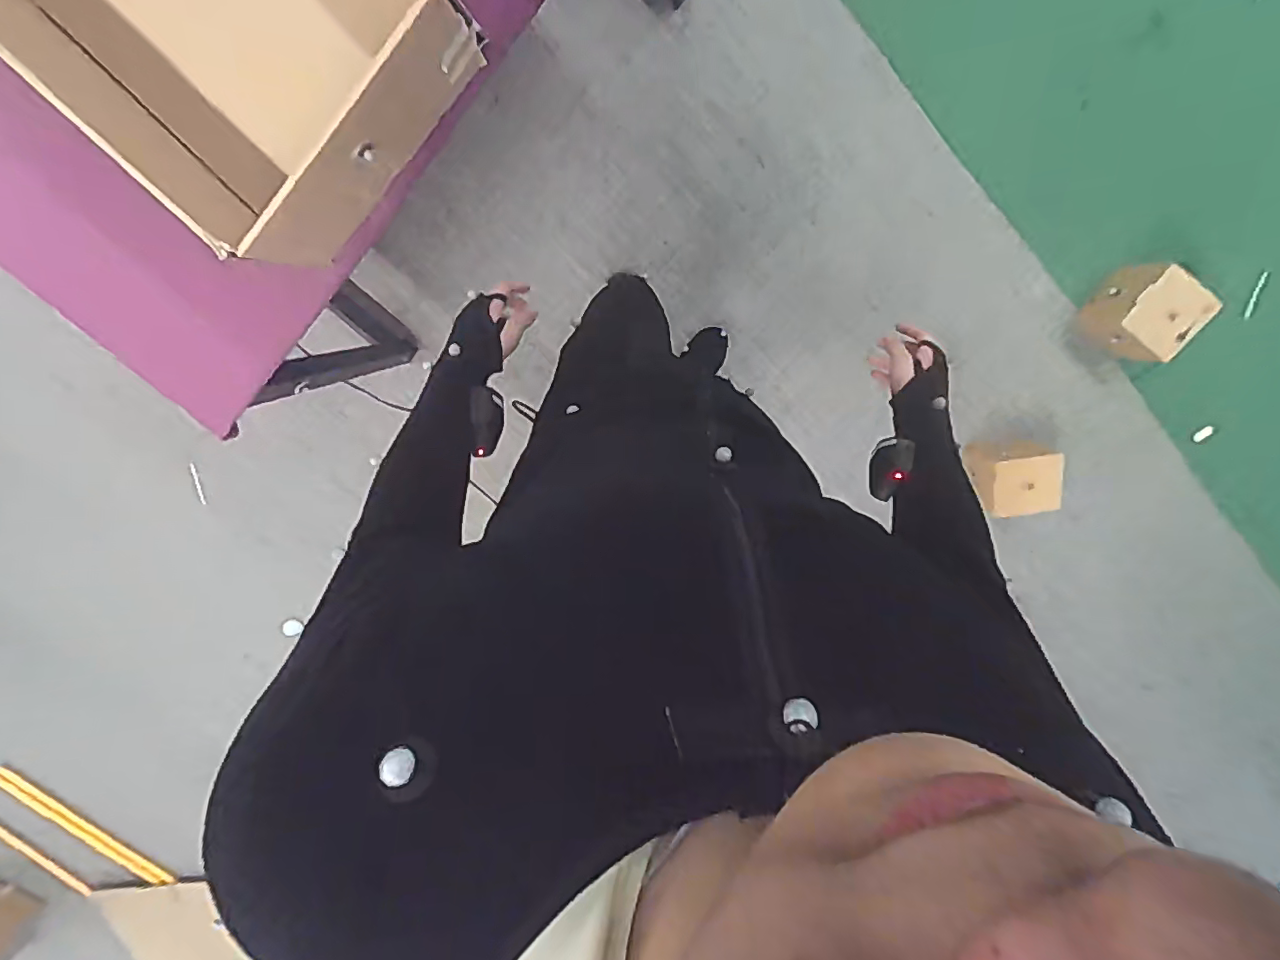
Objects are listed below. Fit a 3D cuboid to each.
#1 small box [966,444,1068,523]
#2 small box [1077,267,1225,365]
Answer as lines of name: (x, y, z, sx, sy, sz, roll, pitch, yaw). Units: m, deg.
small box: (1.050, 0.005, 1.517, 0.179, 0.176, 0.168, -8, 108, 7)
small box: (1.274, -0.411, 1.364, 0.179, 0.176, 0.168, 33, 107, -7)
